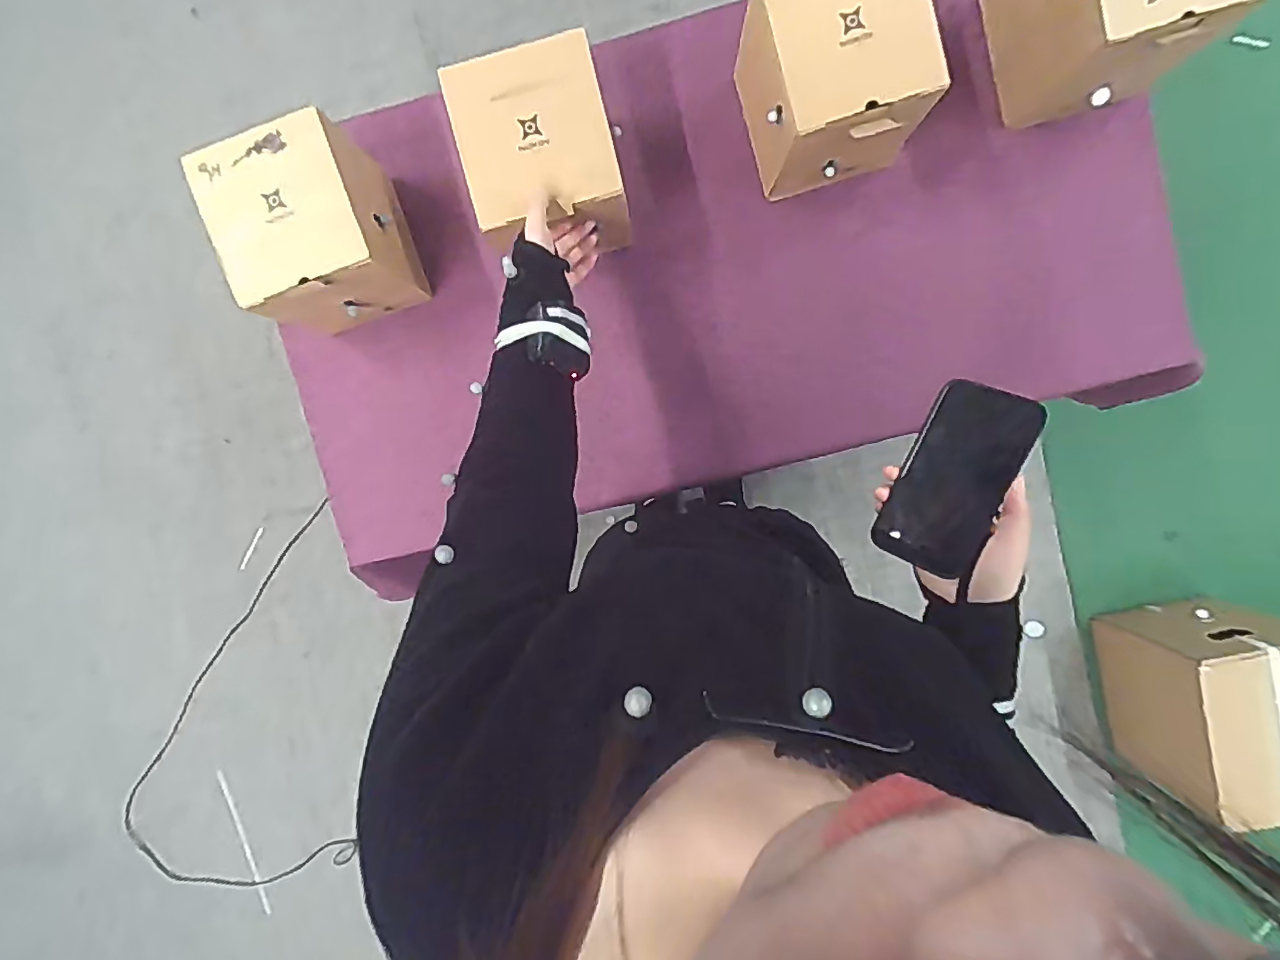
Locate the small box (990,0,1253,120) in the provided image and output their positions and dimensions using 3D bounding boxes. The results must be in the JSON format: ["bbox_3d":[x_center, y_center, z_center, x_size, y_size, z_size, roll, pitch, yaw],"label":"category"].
[{"bbox_3d":[0.530,-0.558,0.609,0.168,0.176,0.179,-14,95,5],"label":"small box"}]

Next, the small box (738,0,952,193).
[{"bbox_3d":[0.223,-0.479,0.635,0.168,0.176,0.179,-17,95,4],"label":"small box"}]

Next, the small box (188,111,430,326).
[{"bbox_3d":[-0.394,-0.305,0.679,0.168,0.176,0.179,-19,95,3],"label":"small box"}]

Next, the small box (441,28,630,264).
[{"bbox_3d":[-0.112,-0.382,0.660,0.168,0.176,0.179,-14,94,3],"label":"small box"}]
